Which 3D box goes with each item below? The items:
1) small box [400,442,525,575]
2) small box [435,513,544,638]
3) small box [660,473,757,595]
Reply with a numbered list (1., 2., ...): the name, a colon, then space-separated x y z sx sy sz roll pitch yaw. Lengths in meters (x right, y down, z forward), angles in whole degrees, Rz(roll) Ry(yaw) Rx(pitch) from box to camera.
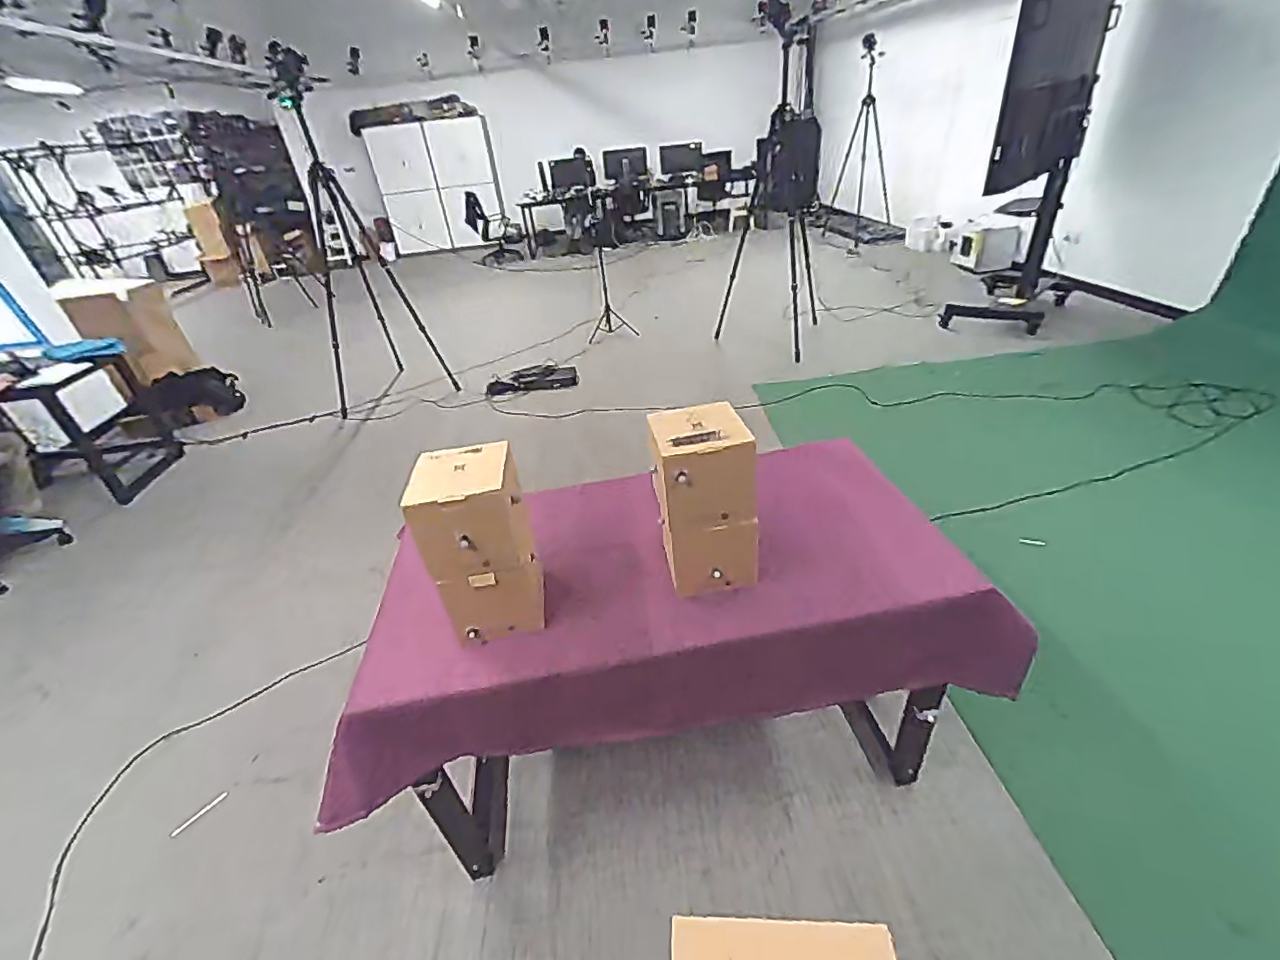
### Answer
1. small box: -0.308 0.055 0.981 0.168 0.176 0.179 -9 34 -4
2. small box: -0.287 0.192 1.070 0.168 0.176 0.179 -10 32 -5
3. small box: 0.137 0.109 1.111 0.168 0.176 0.179 -9 34 -2
